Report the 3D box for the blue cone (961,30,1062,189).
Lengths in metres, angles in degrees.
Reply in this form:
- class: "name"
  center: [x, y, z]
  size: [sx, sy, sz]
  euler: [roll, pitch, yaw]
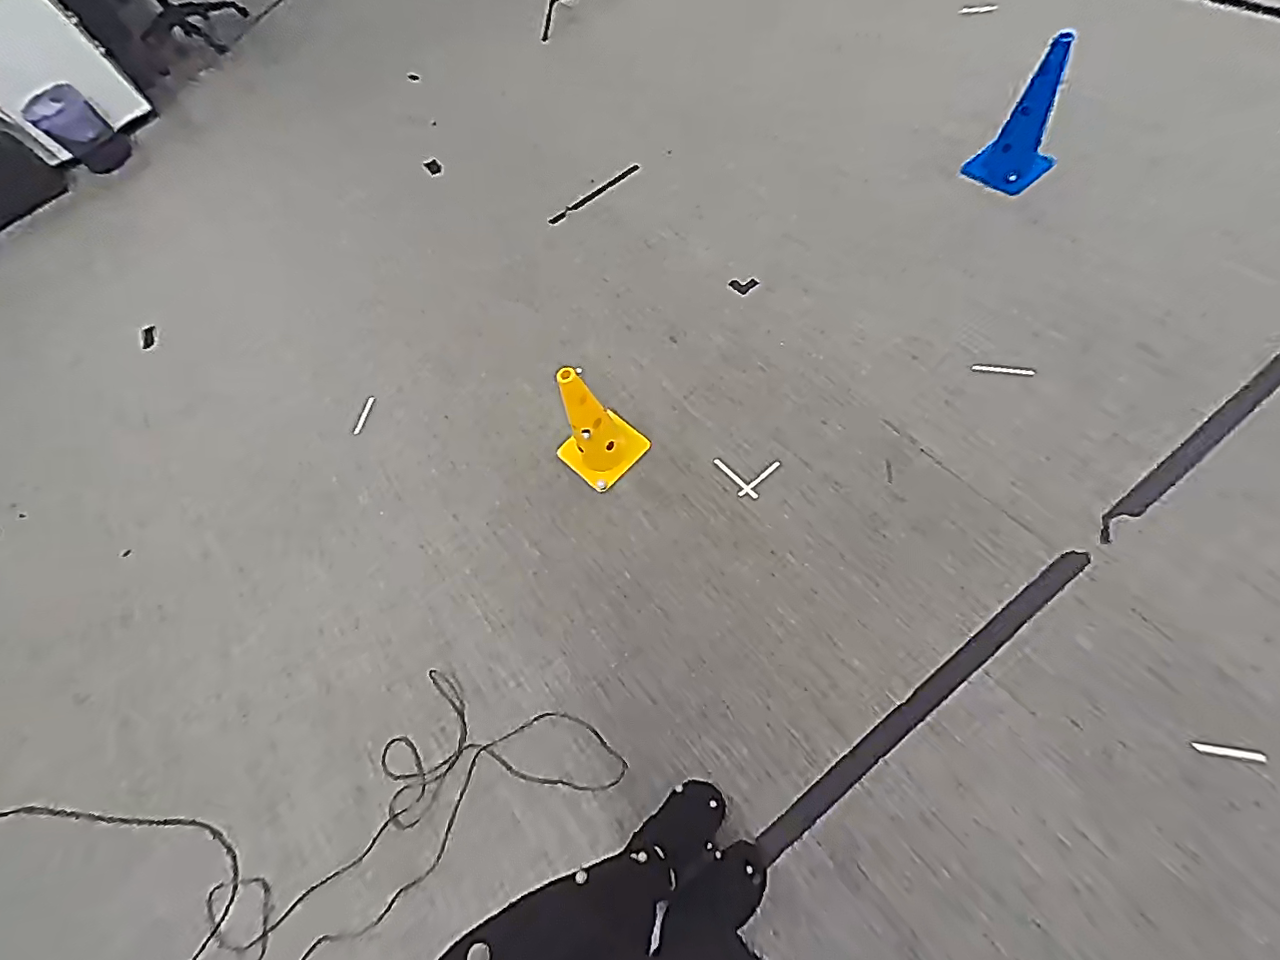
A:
- class: "blue cone"
  center: [1.107, -1.059, 1.548]
  size: [0.193, 0.380, 0.192]
  euler: [-38, 62, -8]
